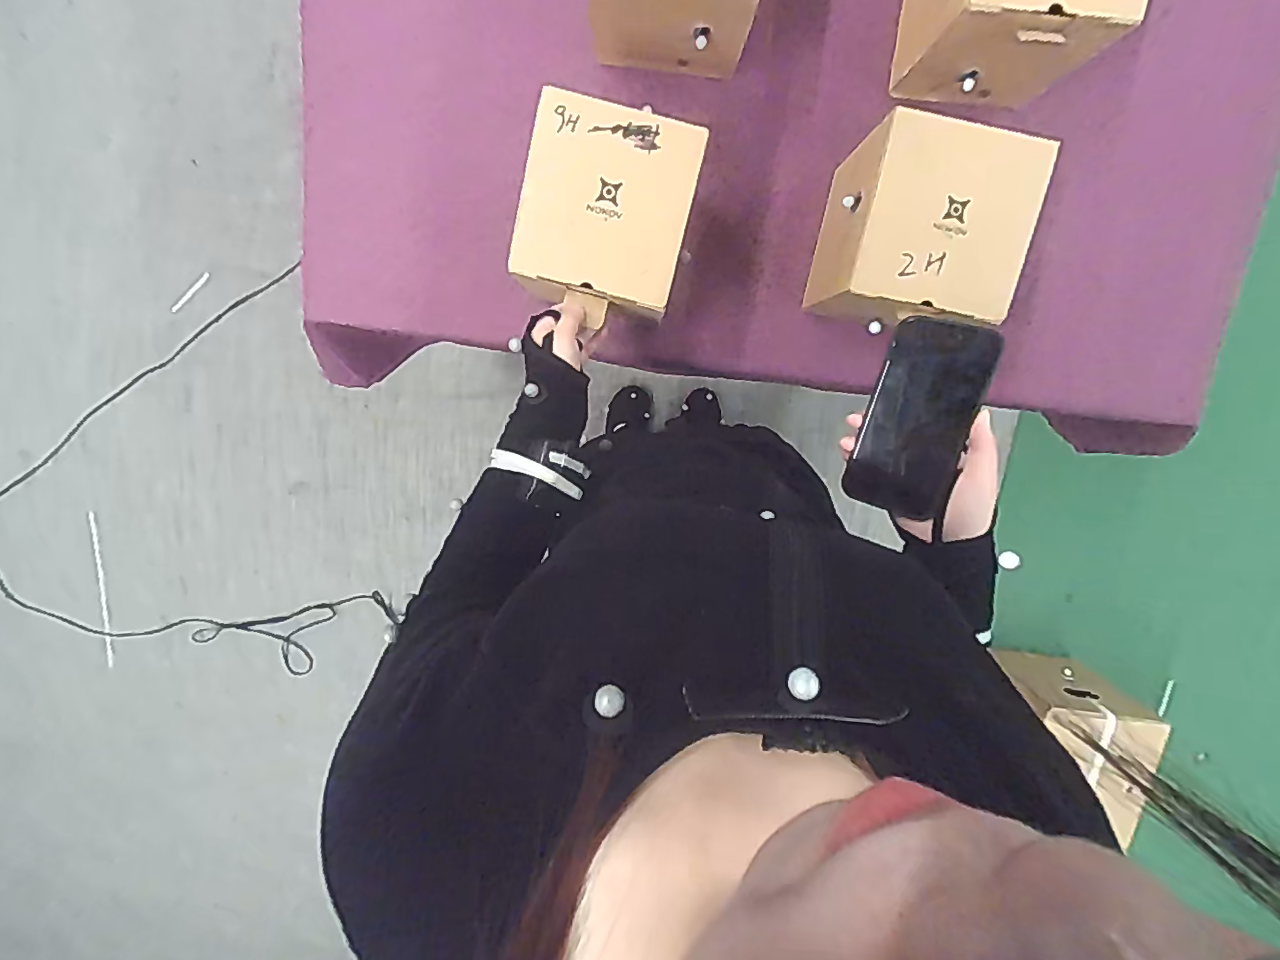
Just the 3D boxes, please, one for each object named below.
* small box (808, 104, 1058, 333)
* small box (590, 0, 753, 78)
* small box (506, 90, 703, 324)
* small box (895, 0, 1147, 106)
[{"bbox_3d":[0.306,-0.273,0.609,0.168,0.176,0.179,11,101,-1],"label":"small box"},{"bbox_3d":[0.040,-0.556,0.556,0.168,0.176,0.179,6,101,-2],"label":"small box"},{"bbox_3d":[-0.036,-0.283,0.608,0.168,0.176,0.179,13,100,-2],"label":"small box"},{"bbox_3d":[0.388,-0.528,0.559,0.168,0.176,0.179,4,102,0],"label":"small box"}]
